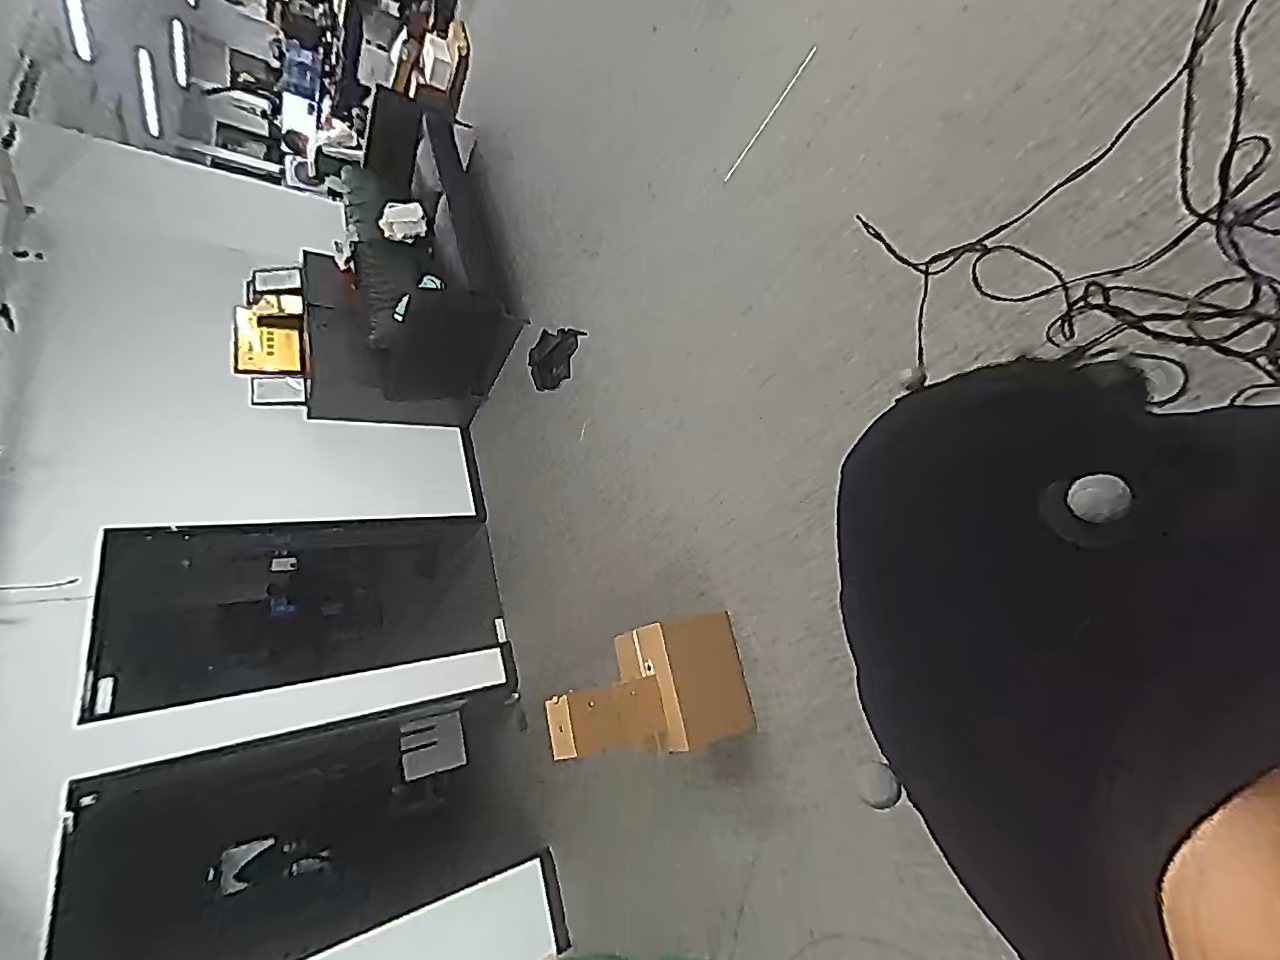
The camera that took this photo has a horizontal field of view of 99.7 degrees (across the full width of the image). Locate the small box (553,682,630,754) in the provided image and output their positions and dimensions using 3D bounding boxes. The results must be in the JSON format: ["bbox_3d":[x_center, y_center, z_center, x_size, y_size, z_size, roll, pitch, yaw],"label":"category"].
[{"bbox_3d":[-0.153,0.743,1.697,0.168,0.176,0.179,-41,57,48],"label":"small box"}]

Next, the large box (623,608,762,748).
[{"bbox_3d":[0.178,0.703,1.934,0.320,0.320,0.408,-36,60,48],"label":"large box"}]
